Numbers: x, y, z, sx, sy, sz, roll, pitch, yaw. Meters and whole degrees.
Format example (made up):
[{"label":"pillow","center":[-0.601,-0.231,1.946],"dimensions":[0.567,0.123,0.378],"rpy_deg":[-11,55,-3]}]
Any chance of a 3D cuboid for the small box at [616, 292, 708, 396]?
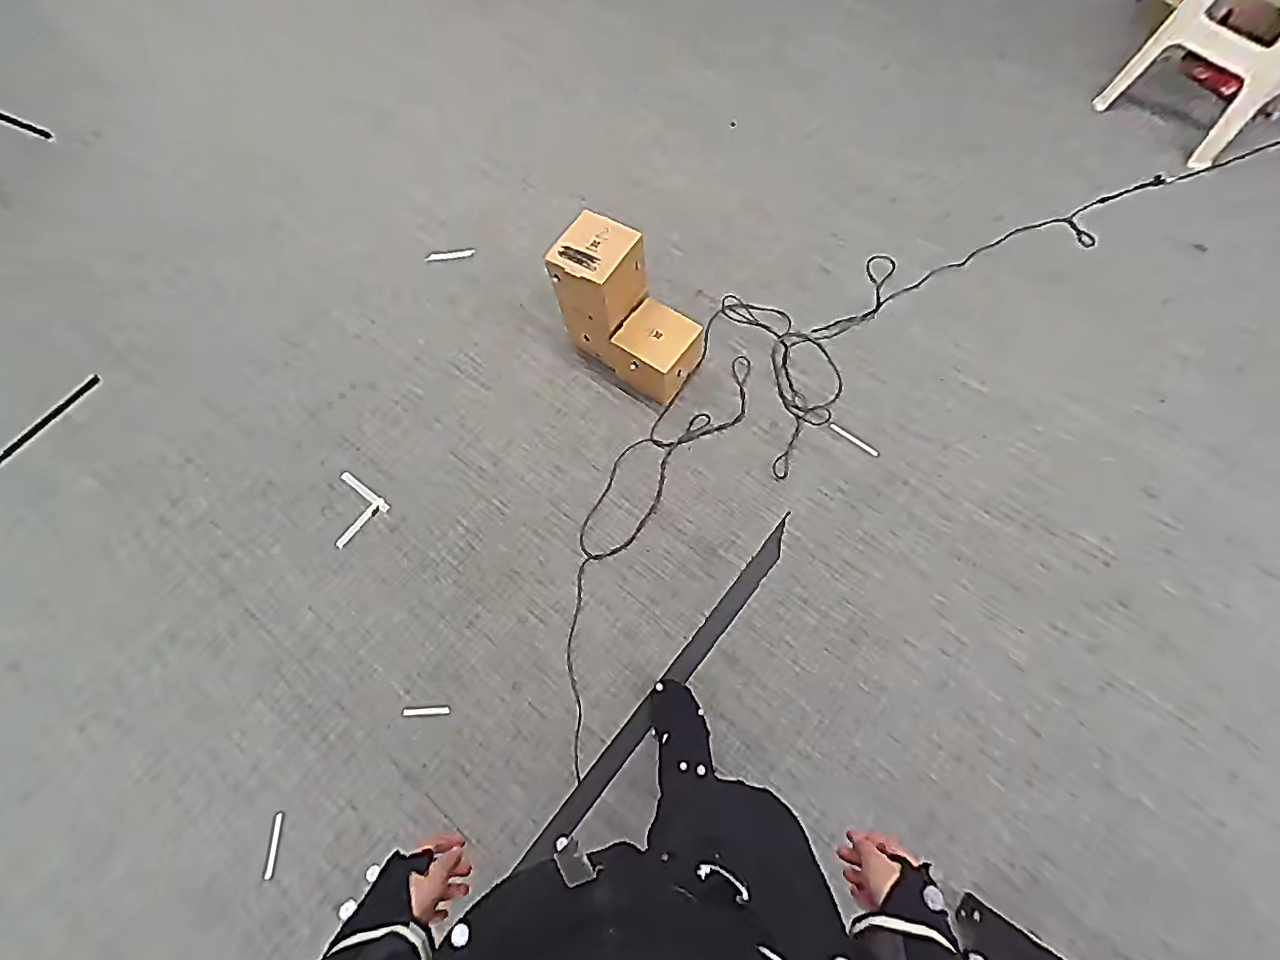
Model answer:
[{"label":"small box","center":[0.056,-0.337,1.349],"dimensions":[0.179,0.176,0.168],"rpy_deg":[-28,83,4]}]
